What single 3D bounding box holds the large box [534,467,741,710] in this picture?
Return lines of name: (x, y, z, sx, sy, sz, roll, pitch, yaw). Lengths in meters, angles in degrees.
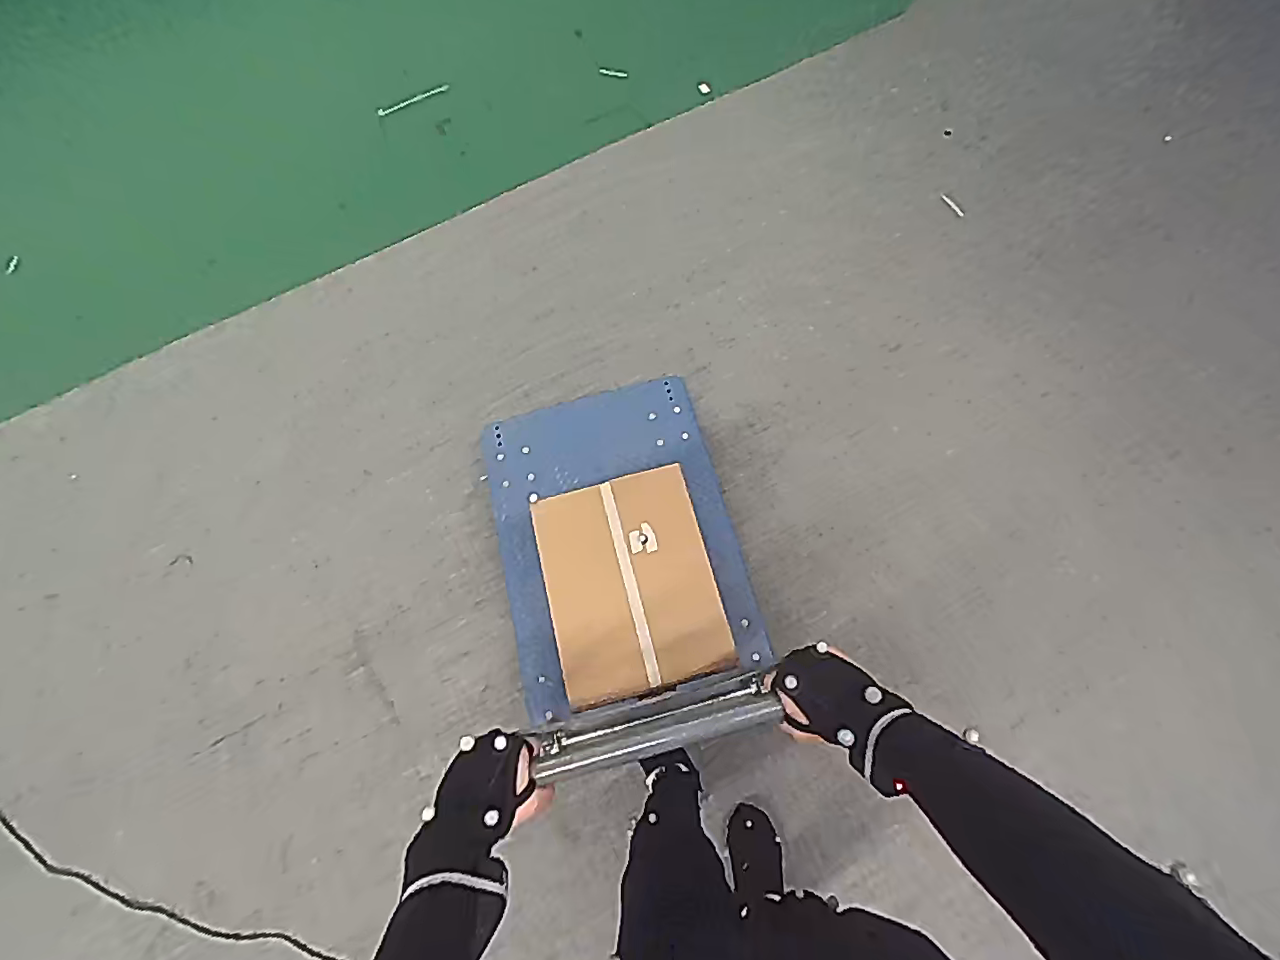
large box: (-0.005, 0.242, 1.163, 0.320, 0.320, 0.408, -15, 69, -2)
